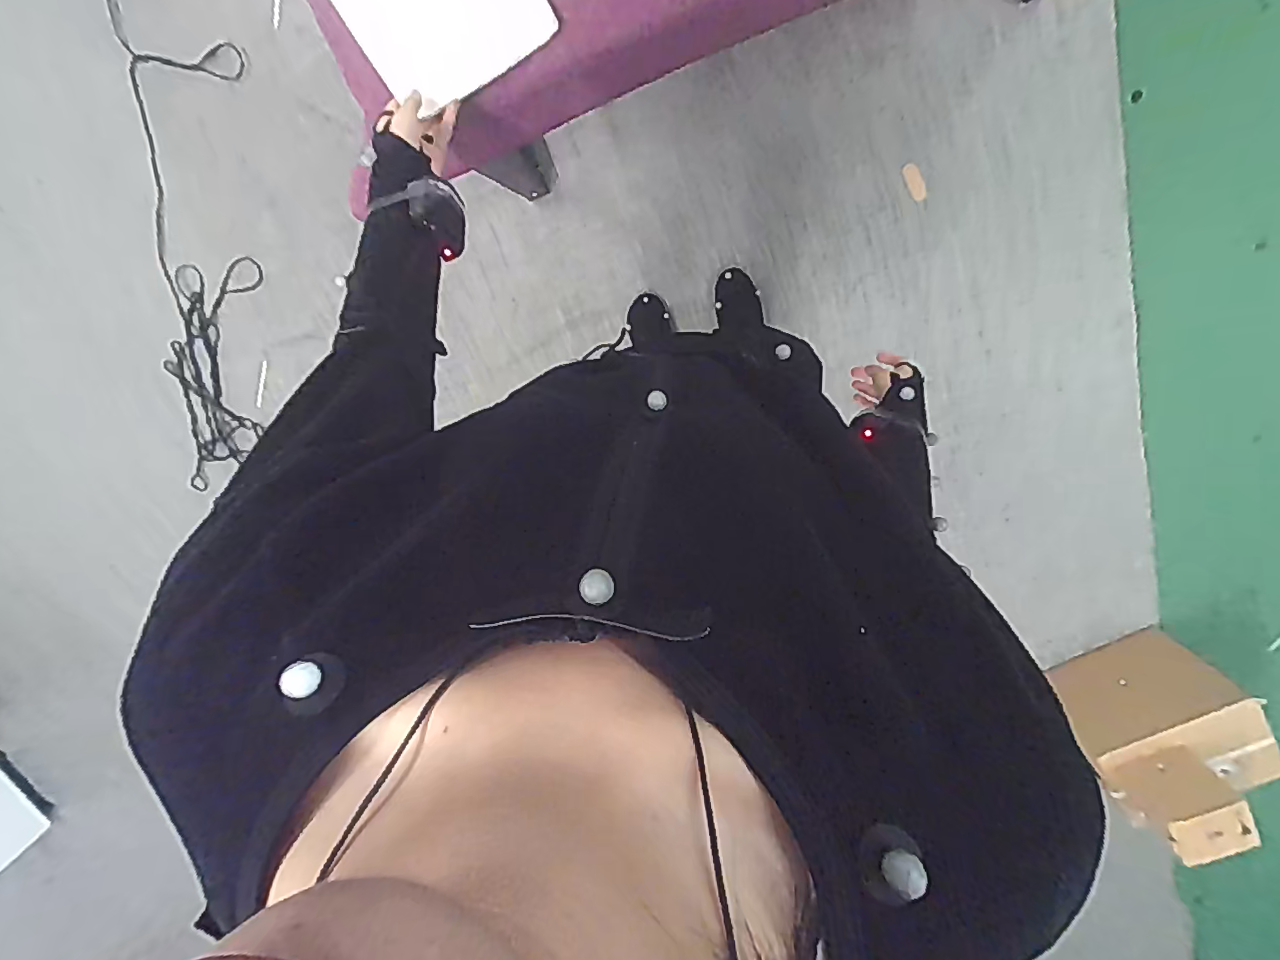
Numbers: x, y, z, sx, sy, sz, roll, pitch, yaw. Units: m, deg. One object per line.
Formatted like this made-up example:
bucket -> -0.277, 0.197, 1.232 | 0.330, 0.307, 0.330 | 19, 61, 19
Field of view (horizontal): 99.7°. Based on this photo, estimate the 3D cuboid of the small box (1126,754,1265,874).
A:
small box -> 1.382, 0.835, 1.361 | 0.179, 0.176, 0.168 | -28, 106, 13

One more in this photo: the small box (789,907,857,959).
small box -> 0.550, 1.434, 1.628 | 0.168, 0.176, 0.179 | -1, 111, 3

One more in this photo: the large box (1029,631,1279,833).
large box -> 1.474, 0.722, 1.578 | 0.408, 0.320, 0.320 | -33, 106, 12
